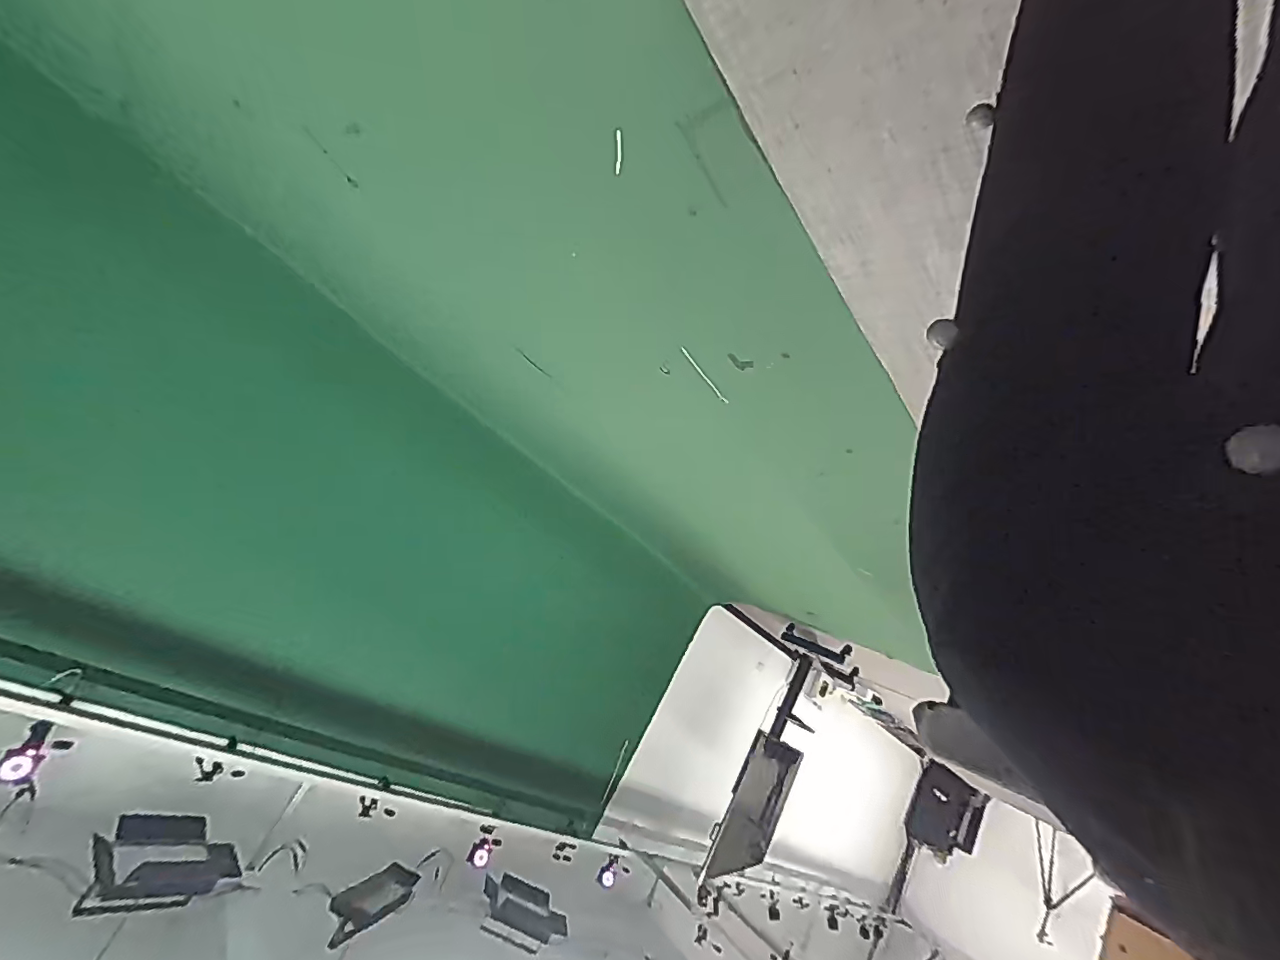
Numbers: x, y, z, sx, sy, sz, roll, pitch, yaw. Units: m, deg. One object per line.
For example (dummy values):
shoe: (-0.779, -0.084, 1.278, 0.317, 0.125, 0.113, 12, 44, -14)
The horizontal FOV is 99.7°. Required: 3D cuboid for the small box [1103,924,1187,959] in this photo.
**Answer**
small box: (1.369, 1.331, 1.445, 0.168, 0.176, 0.179, 40, 163, -32)
